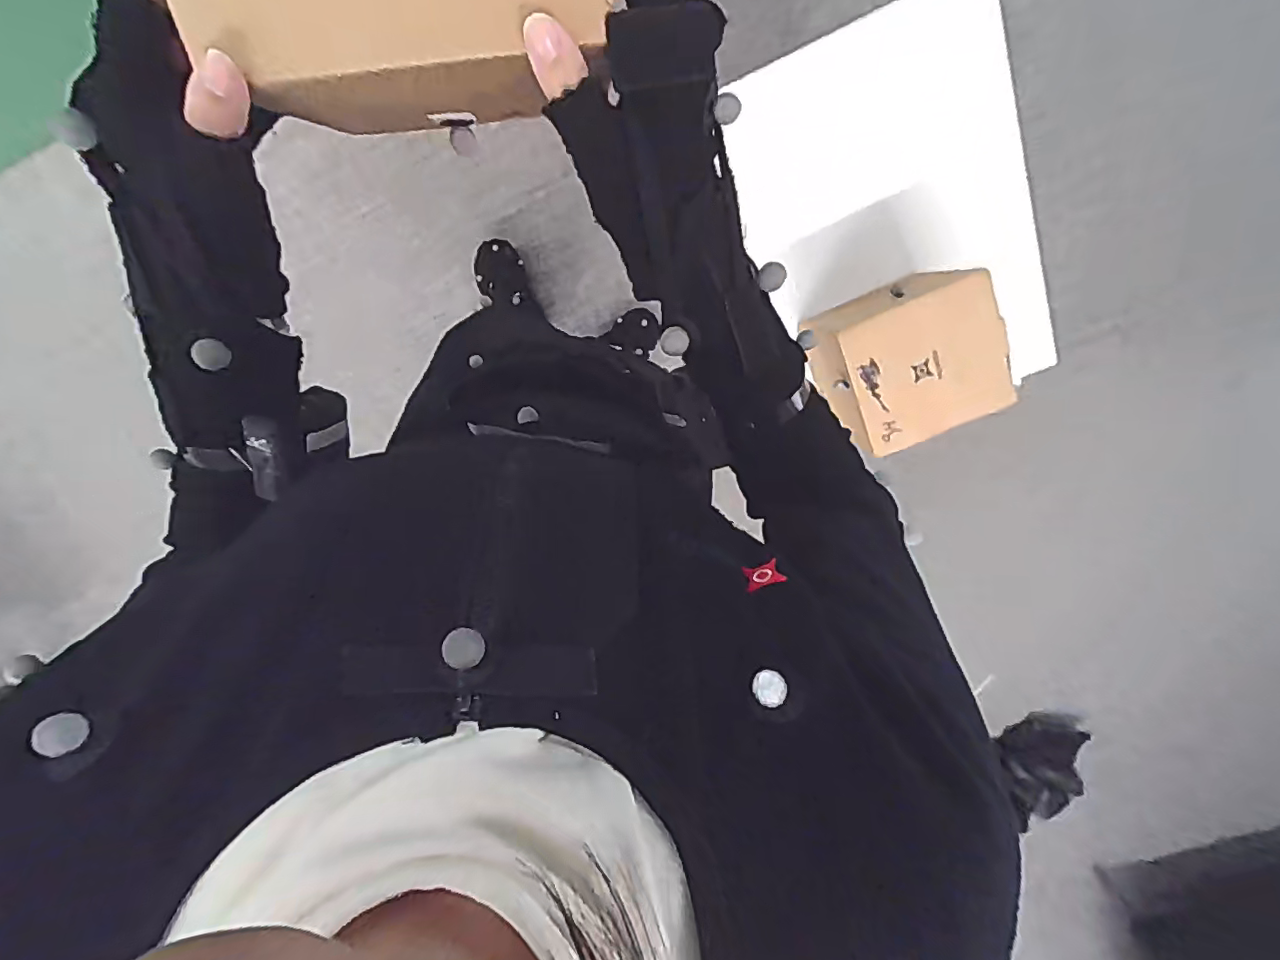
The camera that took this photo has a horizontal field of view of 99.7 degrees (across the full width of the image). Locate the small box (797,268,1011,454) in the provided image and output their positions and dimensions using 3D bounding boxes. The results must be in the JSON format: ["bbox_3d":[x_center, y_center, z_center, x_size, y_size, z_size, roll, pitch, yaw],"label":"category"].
[{"bbox_3d":[0.329,-0.160,0.700,0.179,0.176,0.168,-22,108,7],"label":"small box"}]

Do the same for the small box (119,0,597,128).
[{"bbox_3d":[-0.113,-0.271,0.231,0.168,0.176,0.179,-8,118,0],"label":"small box"}]
